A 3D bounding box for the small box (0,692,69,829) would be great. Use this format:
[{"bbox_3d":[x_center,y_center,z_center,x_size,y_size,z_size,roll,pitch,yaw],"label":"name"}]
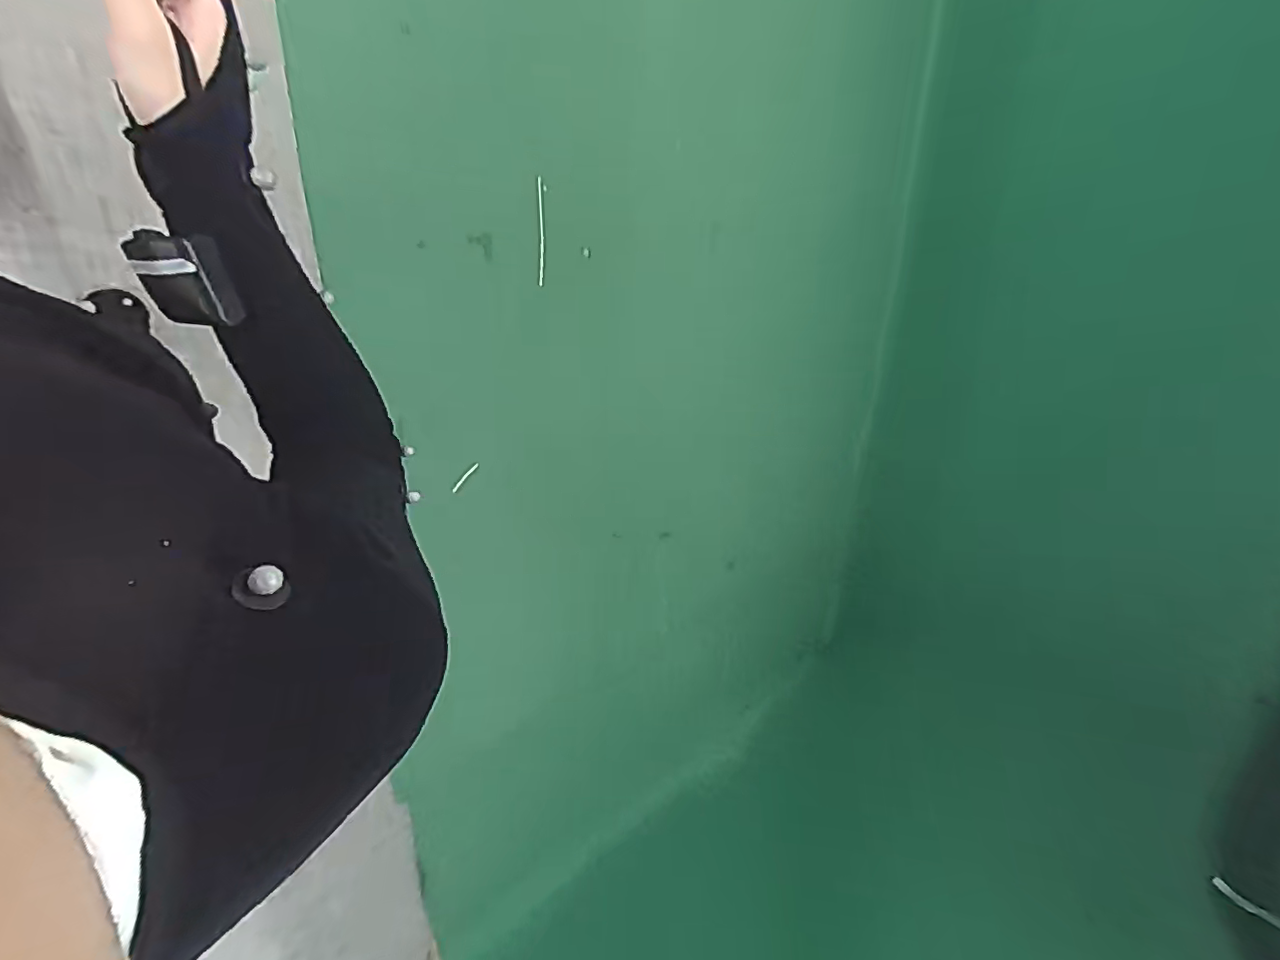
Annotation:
[{"bbox_3d":[-1.187,0.517,0.984,0.168,0.176,0.179,-15,116,-38],"label":"small box"}]
